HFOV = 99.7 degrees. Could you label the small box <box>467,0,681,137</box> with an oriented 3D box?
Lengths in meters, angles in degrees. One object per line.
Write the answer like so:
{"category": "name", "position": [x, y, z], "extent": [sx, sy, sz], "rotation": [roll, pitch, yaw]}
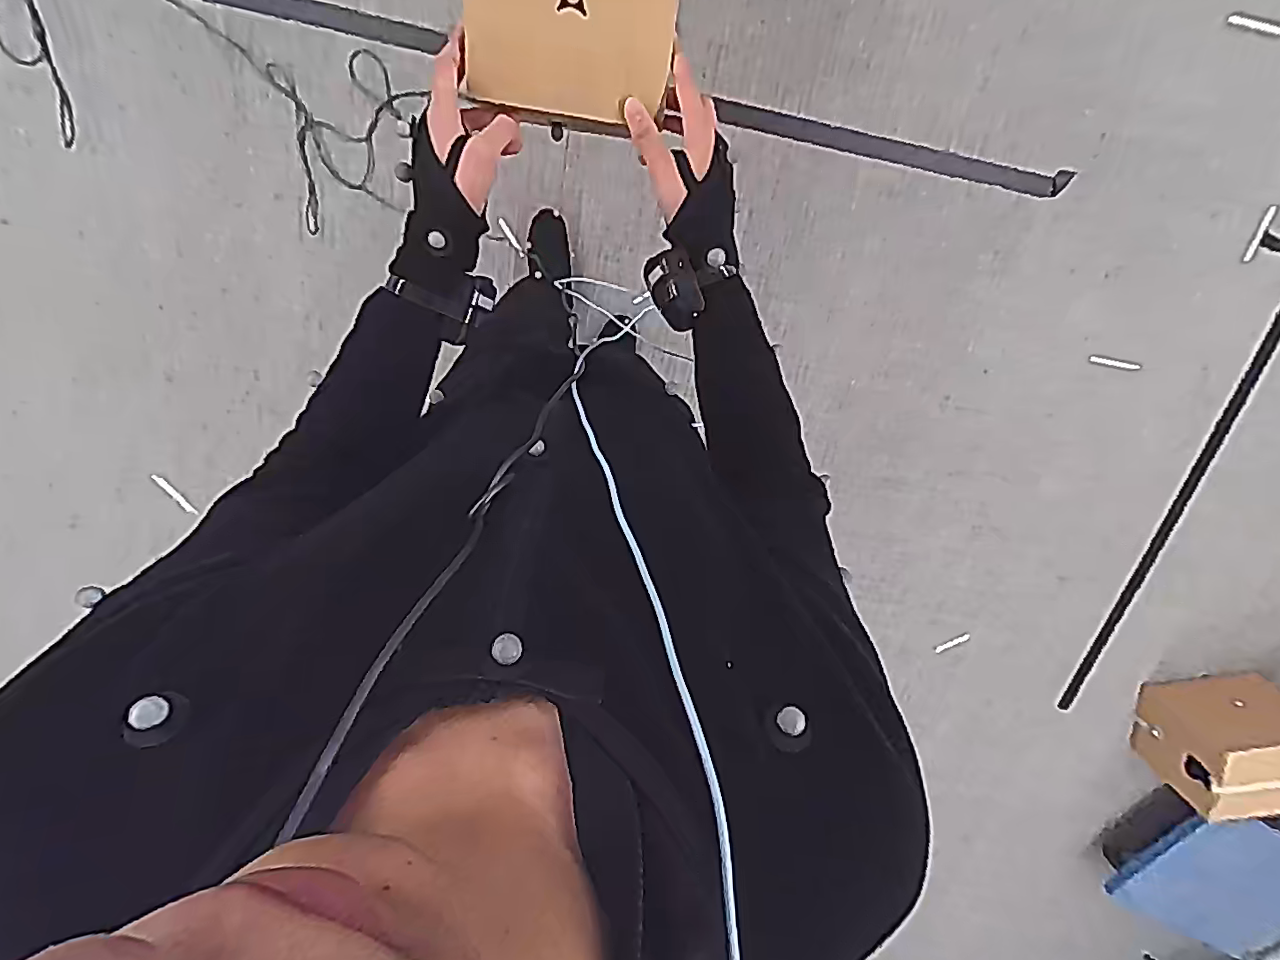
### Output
{"category": "small box", "position": [-0.059, -0.421, 0.482], "extent": [0.168, 0.176, 0.179], "rotation": [3, 119, -12]}
